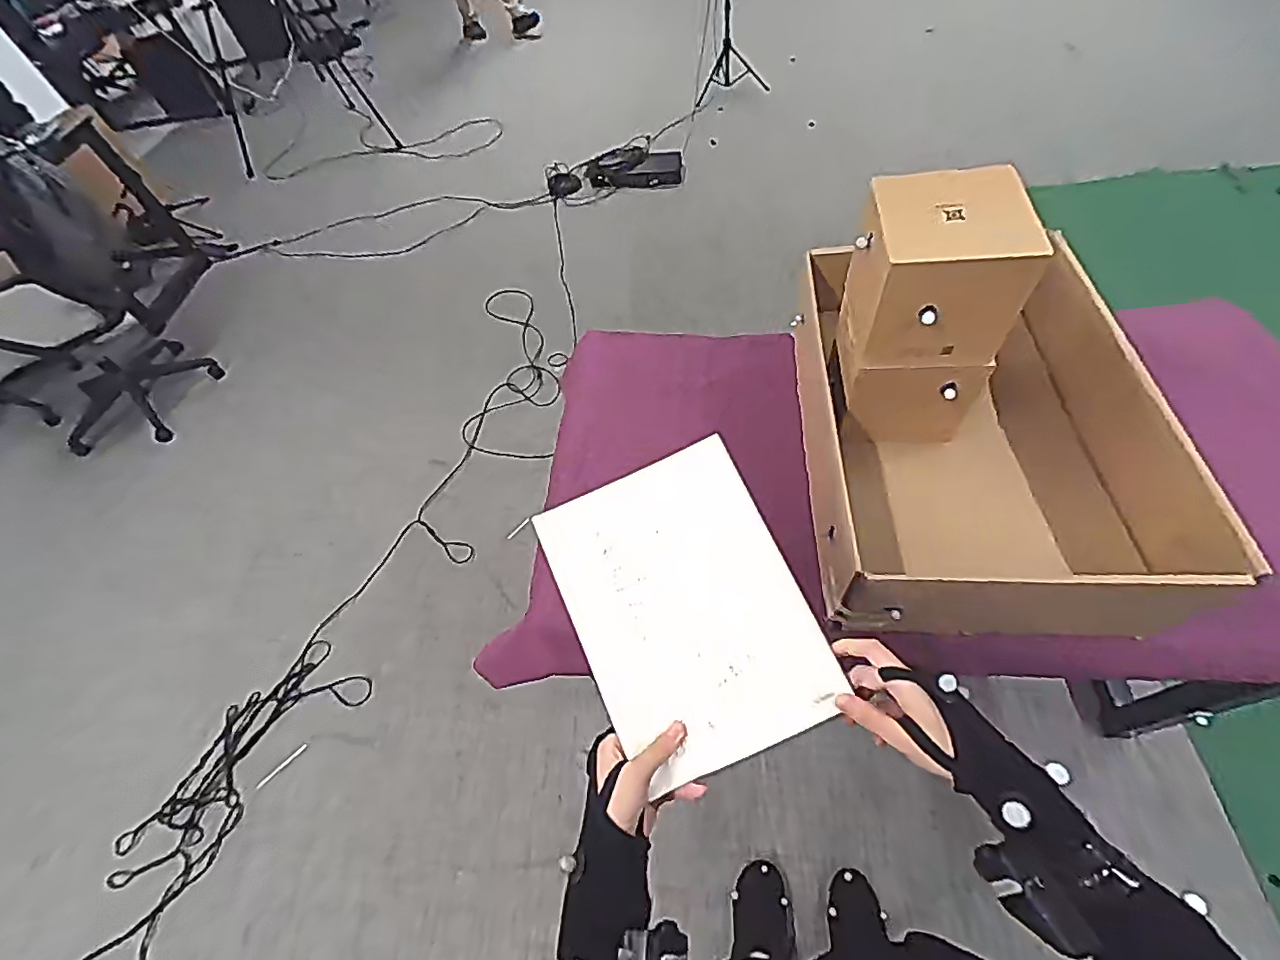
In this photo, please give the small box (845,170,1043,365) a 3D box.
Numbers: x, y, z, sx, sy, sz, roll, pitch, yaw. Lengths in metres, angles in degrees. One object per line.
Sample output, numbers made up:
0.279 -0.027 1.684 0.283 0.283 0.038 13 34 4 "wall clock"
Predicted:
0.369 -0.263 0.697 0.168 0.176 0.179 0 57 10 "small box"
